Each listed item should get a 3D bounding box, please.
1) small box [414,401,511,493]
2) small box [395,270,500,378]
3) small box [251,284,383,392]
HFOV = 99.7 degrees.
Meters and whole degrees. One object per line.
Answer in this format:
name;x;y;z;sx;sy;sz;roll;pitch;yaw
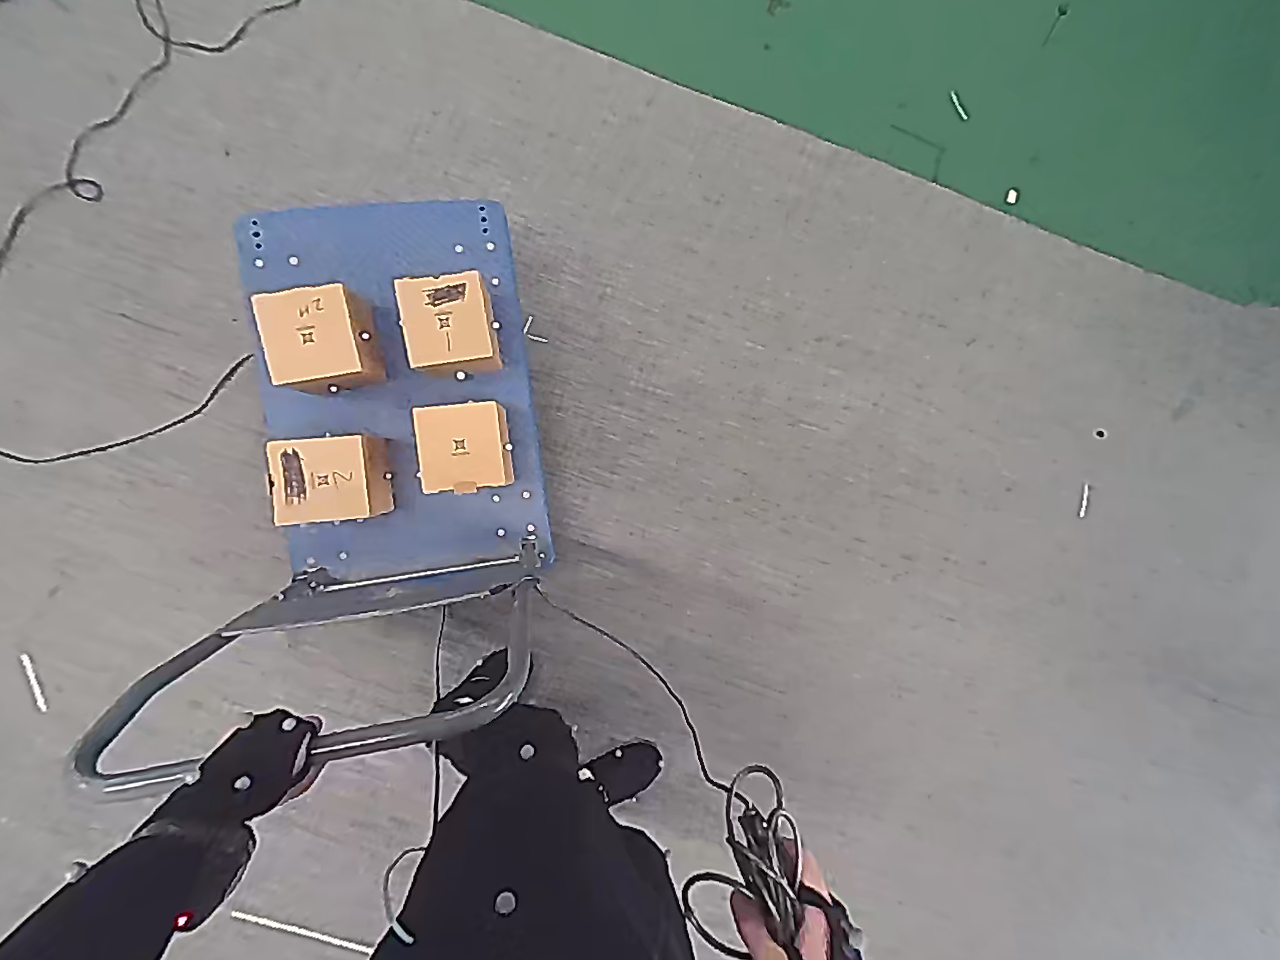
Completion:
small box;-0.374;-0.070;1.164;0.168;0.176;0.179;-7;94;-8
small box;-0.400;-0.323;1.147;0.168;0.176;0.179;-10;95;-8
small box;-0.649;-0.281;1.110;0.168;0.176;0.179;-12;94;-9
